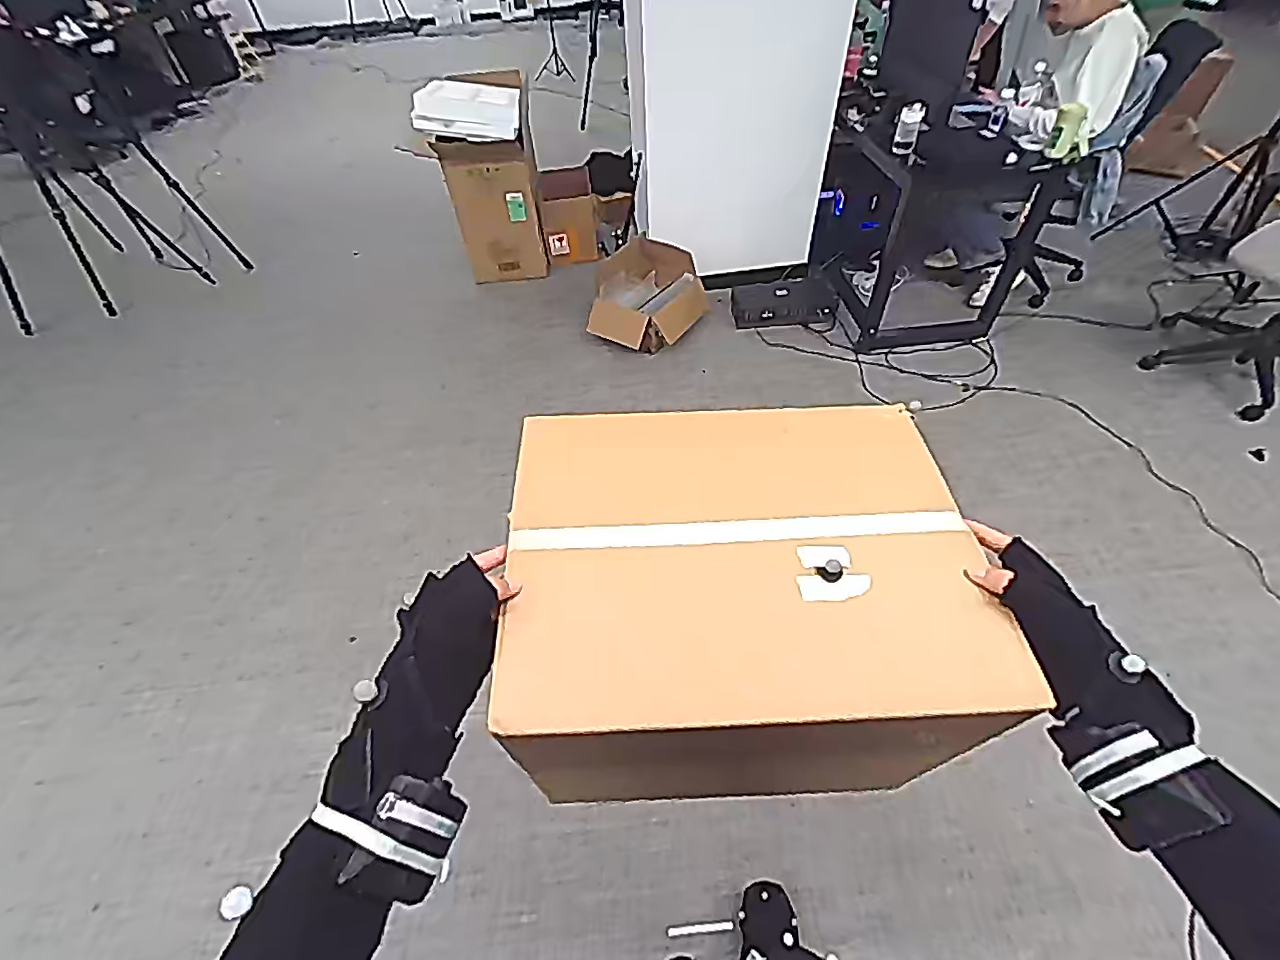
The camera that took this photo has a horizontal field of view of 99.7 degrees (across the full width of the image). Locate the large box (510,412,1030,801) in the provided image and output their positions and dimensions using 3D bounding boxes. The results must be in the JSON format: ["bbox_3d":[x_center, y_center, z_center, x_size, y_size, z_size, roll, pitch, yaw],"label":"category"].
[{"bbox_3d":[0.090,0.147,0.608,0.408,0.320,0.320,-2,52,-2],"label":"large box"}]
